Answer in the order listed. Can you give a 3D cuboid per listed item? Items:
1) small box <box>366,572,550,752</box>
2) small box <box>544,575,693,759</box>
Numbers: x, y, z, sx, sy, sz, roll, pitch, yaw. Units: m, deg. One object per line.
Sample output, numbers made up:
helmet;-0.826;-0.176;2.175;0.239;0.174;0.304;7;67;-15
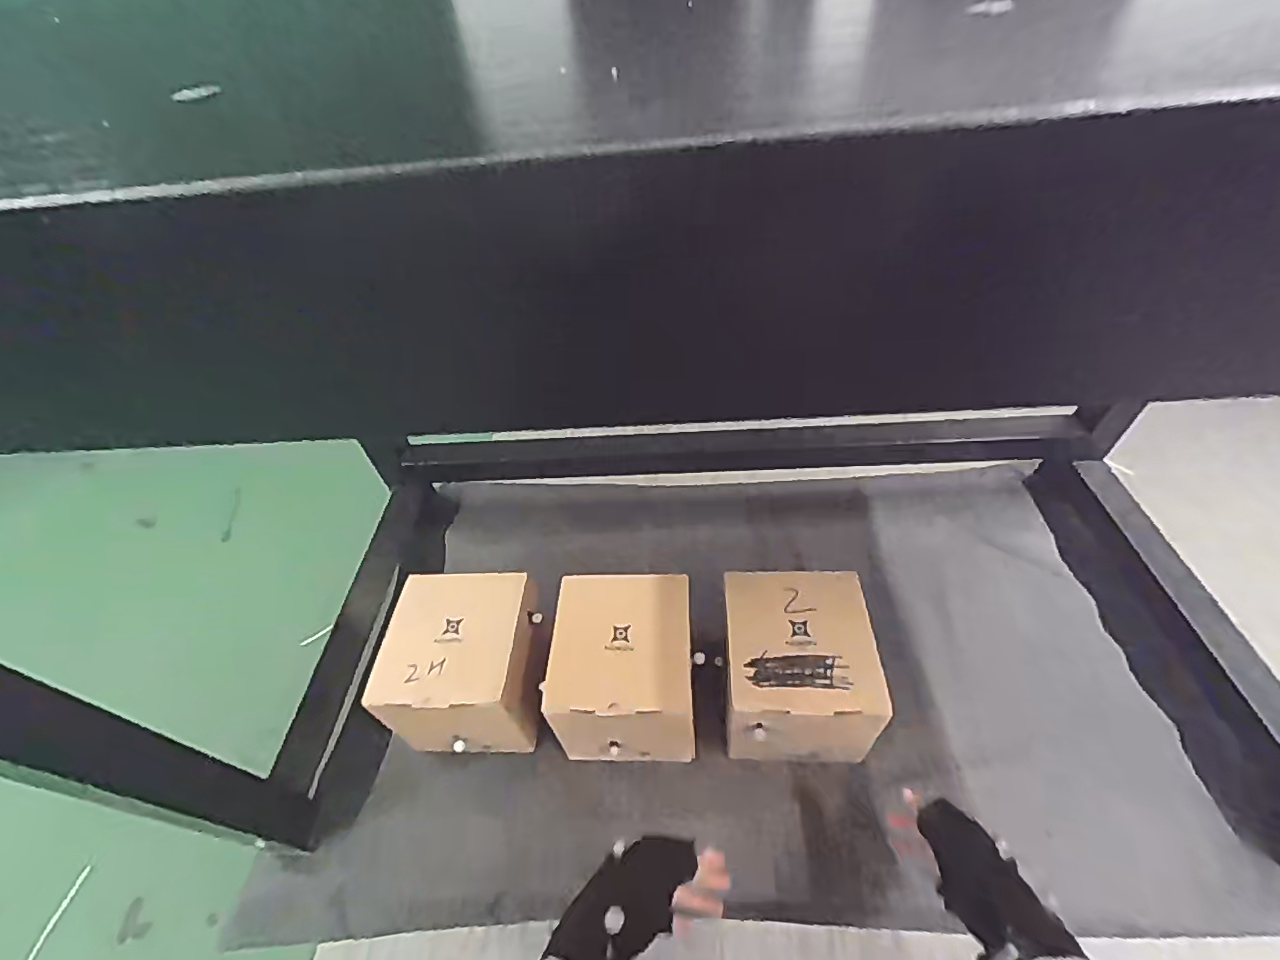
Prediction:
small box;-0.223;0.242;0.723;0.168;0.176;0.179;-2;47;5
small box;-0.016;0.242;0.702;0.168;0.176;0.179;-1;48;5
